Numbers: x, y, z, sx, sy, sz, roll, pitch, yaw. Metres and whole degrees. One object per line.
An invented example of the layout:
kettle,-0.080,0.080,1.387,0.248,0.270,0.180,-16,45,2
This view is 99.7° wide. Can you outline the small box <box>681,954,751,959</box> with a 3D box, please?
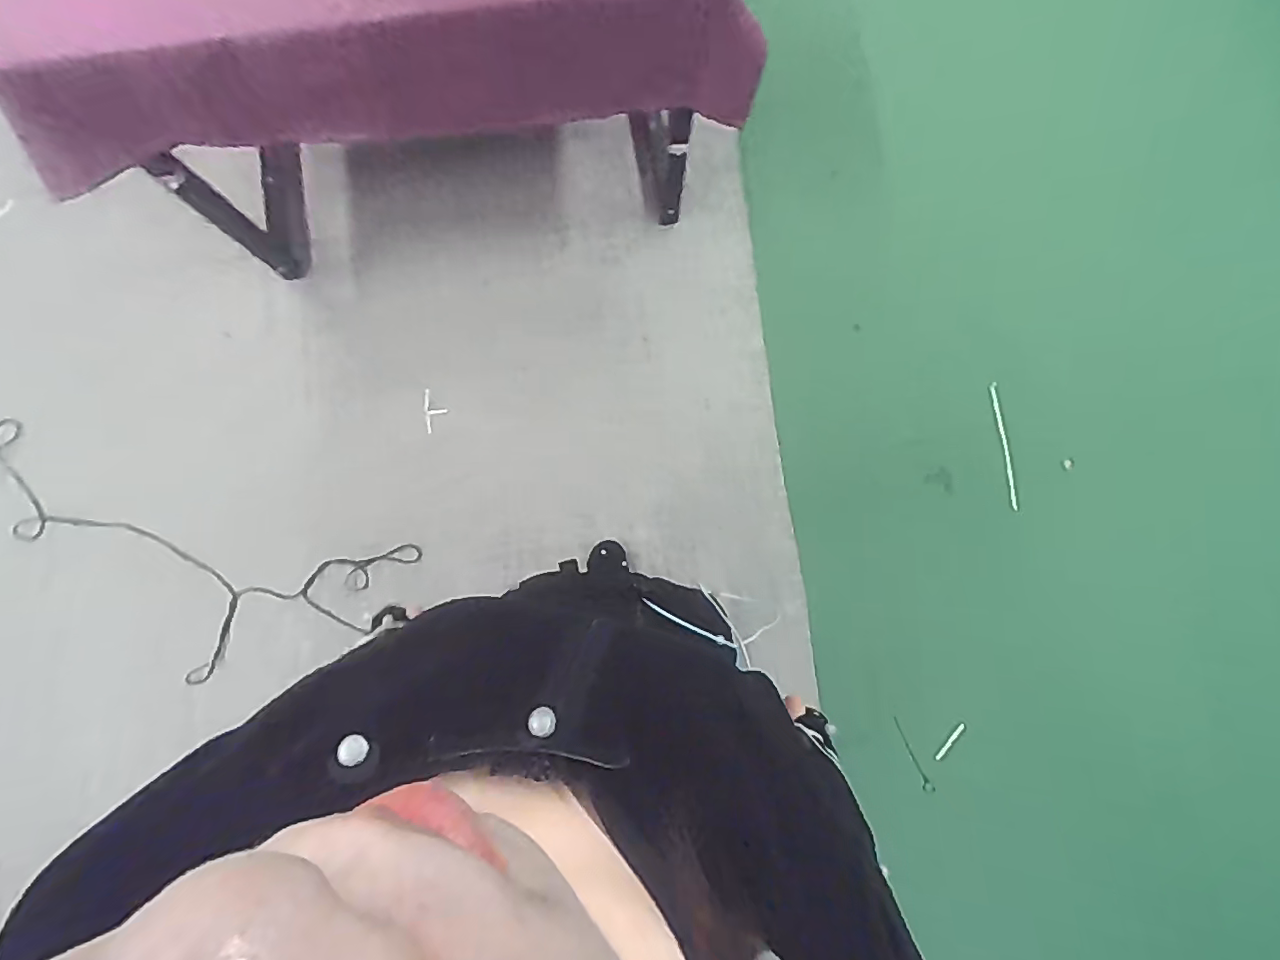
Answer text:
small box,0.160,1.060,1.025,0.168,0.176,0.179,4,83,-3
